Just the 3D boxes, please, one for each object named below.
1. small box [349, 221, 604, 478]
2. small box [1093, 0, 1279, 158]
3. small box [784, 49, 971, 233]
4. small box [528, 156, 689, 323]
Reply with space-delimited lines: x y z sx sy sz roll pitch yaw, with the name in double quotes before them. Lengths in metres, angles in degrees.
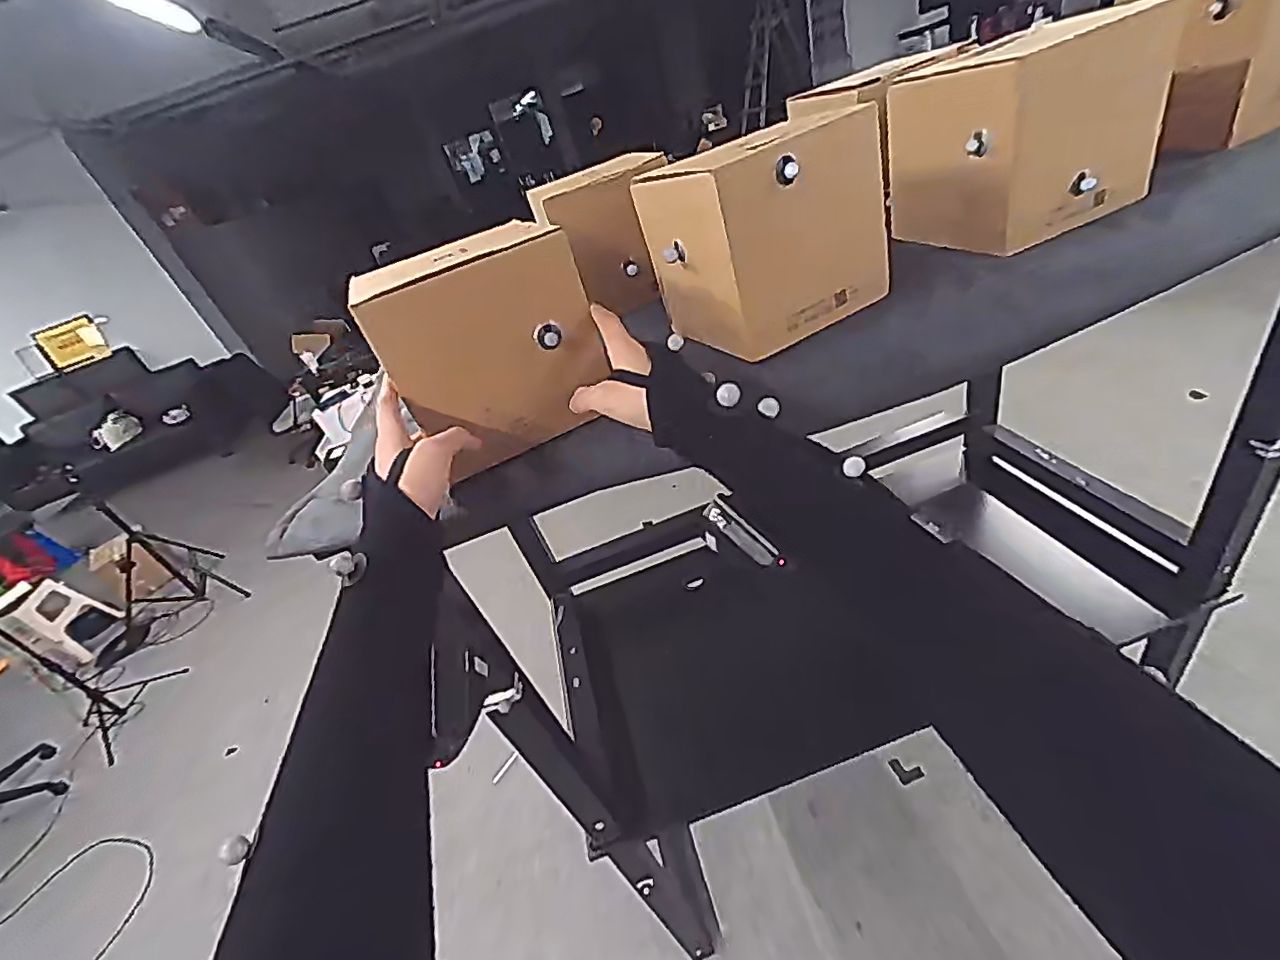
"small box" -0.147 -0.130 0.517 0.179 0.176 0.168 -26 34 -14
"small box" 0.671 -0.485 0.616 0.168 0.176 0.179 -19 34 2
"small box" 0.327 -0.463 0.758 0.168 0.176 0.179 -23 33 -4
"small box" -0.047 -0.343 0.774 0.168 0.176 0.179 -23 34 -4
